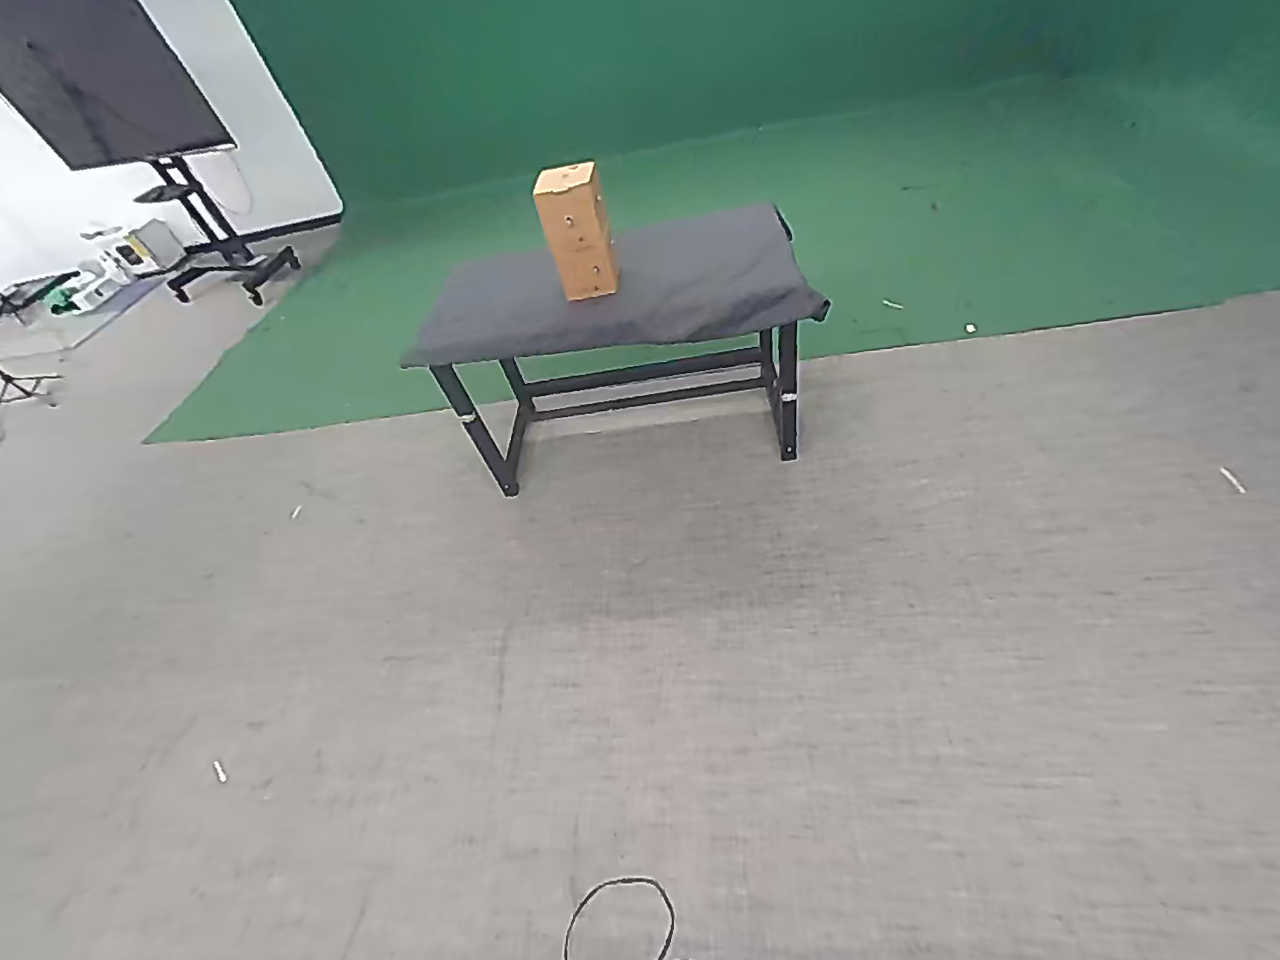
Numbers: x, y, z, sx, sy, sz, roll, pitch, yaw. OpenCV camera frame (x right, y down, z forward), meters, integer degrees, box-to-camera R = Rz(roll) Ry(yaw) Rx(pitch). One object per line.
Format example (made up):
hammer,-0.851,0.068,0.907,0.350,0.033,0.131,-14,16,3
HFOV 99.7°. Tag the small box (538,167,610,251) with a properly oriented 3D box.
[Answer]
small box,-0.189,-0.800,1.611,0.168,0.176,0.179,-5,48,8

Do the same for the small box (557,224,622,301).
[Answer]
small box,-0.156,-0.687,1.726,0.168,0.176,0.179,-7,46,8
